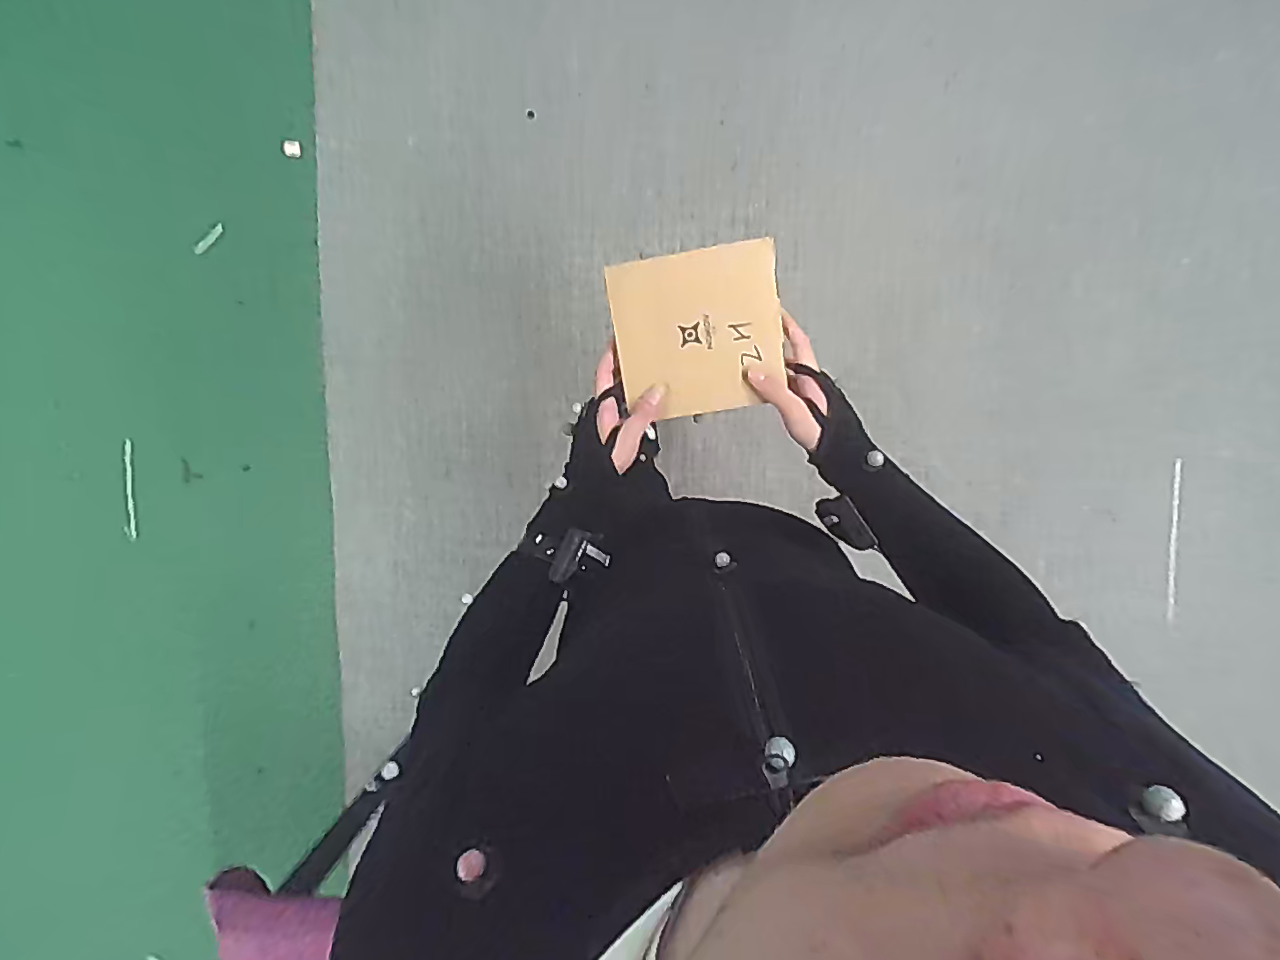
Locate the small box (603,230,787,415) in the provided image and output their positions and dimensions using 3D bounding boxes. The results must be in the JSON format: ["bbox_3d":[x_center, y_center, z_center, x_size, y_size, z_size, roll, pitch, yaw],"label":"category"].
[{"bbox_3d":[0.063,-0.175,0.633,0.179,0.176,0.168,-8,103,4],"label":"small box"}]
